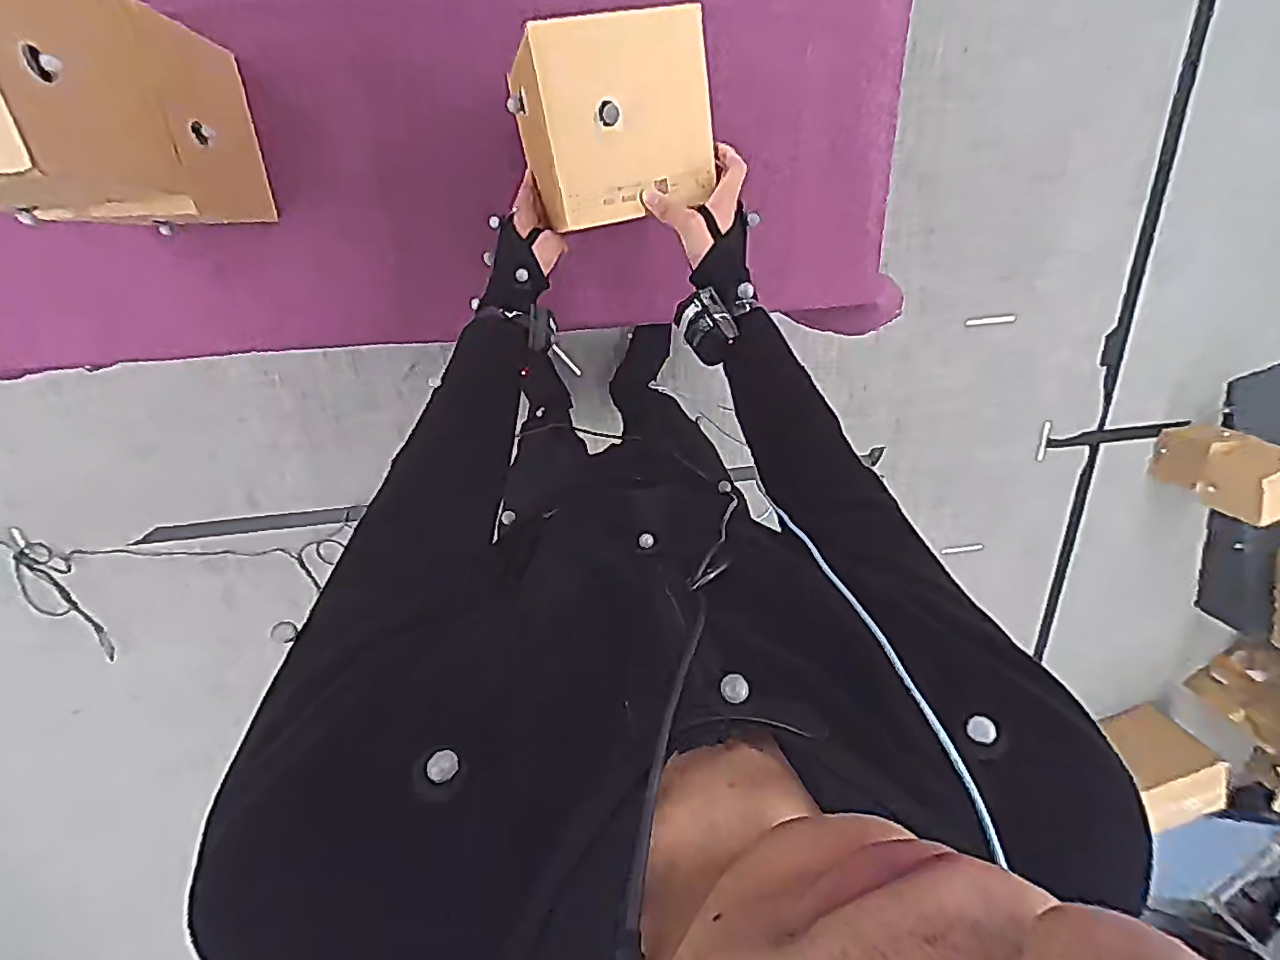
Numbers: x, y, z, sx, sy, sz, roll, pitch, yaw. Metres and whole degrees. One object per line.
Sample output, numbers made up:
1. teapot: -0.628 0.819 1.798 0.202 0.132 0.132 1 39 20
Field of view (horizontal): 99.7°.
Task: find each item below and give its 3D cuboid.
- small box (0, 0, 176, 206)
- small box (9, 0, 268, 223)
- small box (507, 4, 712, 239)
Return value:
1. small box: -0.516 -0.312 0.411 0.168 0.176 0.179 -8 113 -4
2. small box: -0.532 -0.367 0.565 0.168 0.176 0.179 -4 114 -7
3. small box: -0.034 -0.368 0.585 0.168 0.179 0.176 -17 116 -12
